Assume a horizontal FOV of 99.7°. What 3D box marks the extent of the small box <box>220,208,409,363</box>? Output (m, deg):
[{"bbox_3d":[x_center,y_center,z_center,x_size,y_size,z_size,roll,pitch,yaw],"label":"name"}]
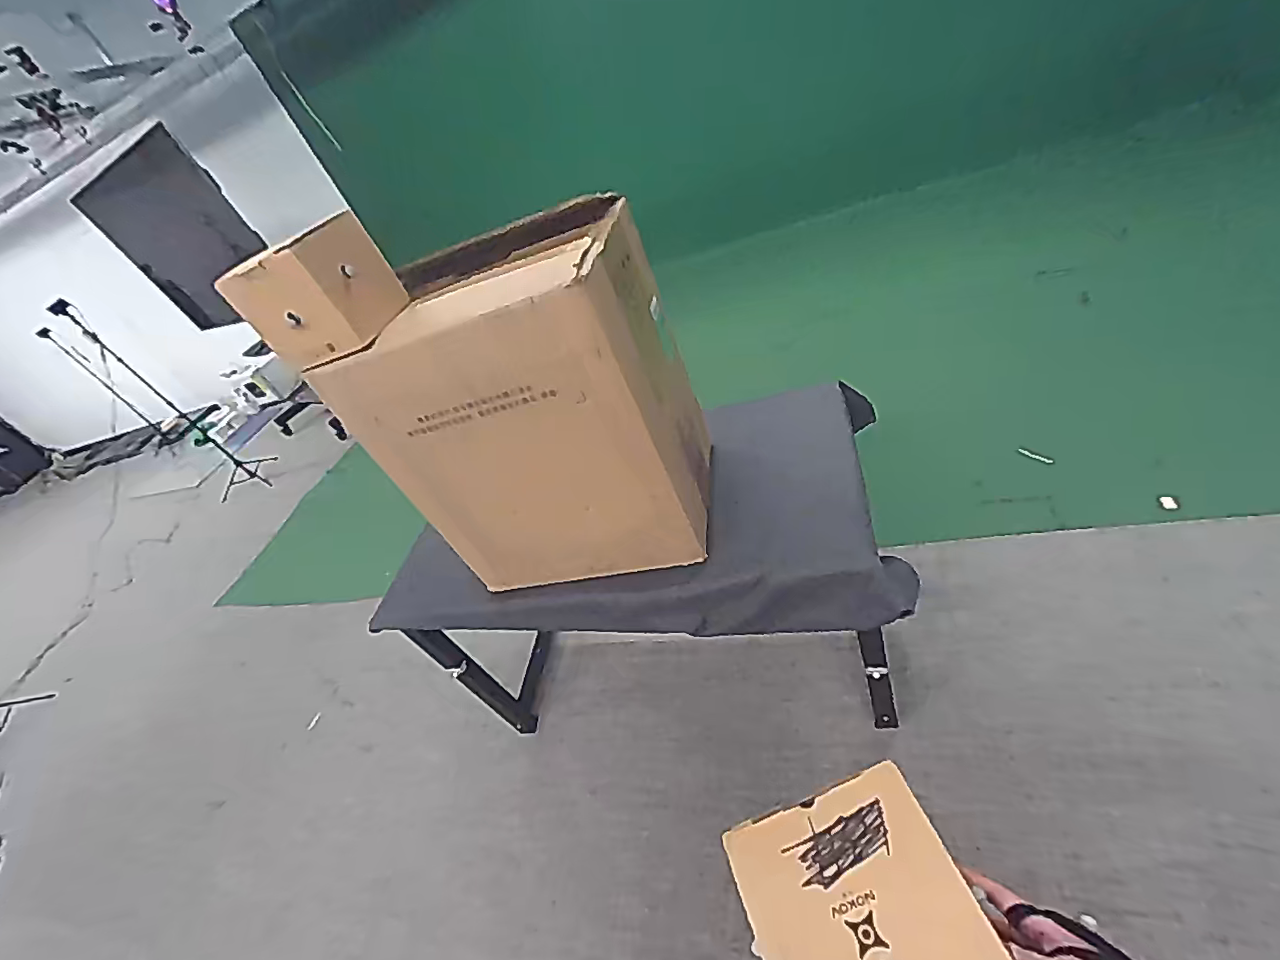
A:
[{"bbox_3d":[-0.523,-0.312,0.900,0.168,0.176,0.179,-12,41,20],"label":"small box"}]
